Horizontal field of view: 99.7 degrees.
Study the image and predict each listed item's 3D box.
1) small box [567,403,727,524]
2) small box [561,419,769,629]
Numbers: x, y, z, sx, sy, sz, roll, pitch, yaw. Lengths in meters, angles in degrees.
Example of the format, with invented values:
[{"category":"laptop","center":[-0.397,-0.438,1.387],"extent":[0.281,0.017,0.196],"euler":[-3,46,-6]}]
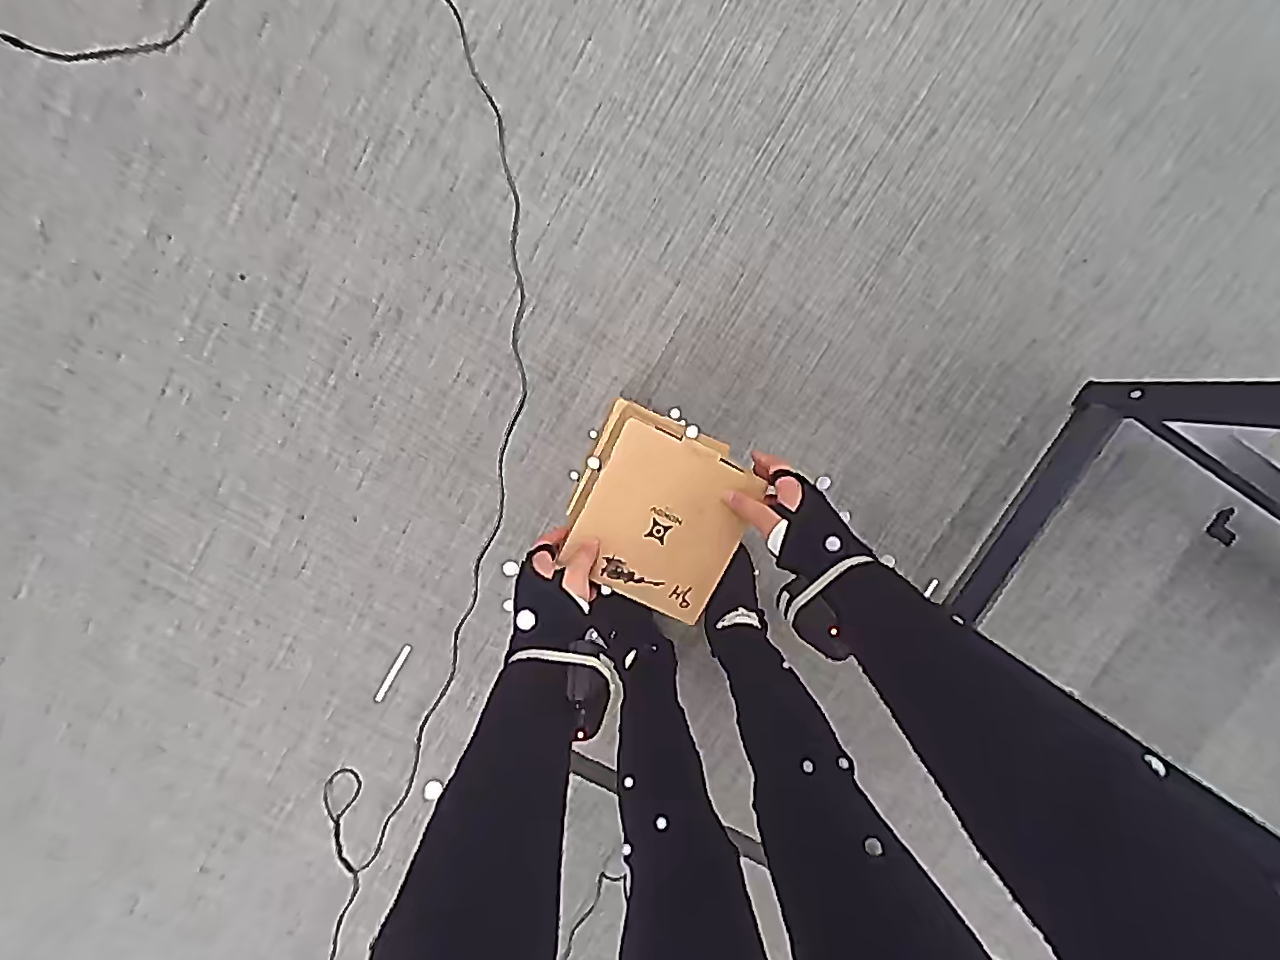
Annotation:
[{"category":"small box","center":[0.006,-0.003,0.799],"extent":[0.168,0.176,0.179],"euler":[23,96,-7]},{"category":"small box","center":[0.020,0.038,0.639],"extent":[0.168,0.176,0.179],"euler":[26,97,-7]}]
